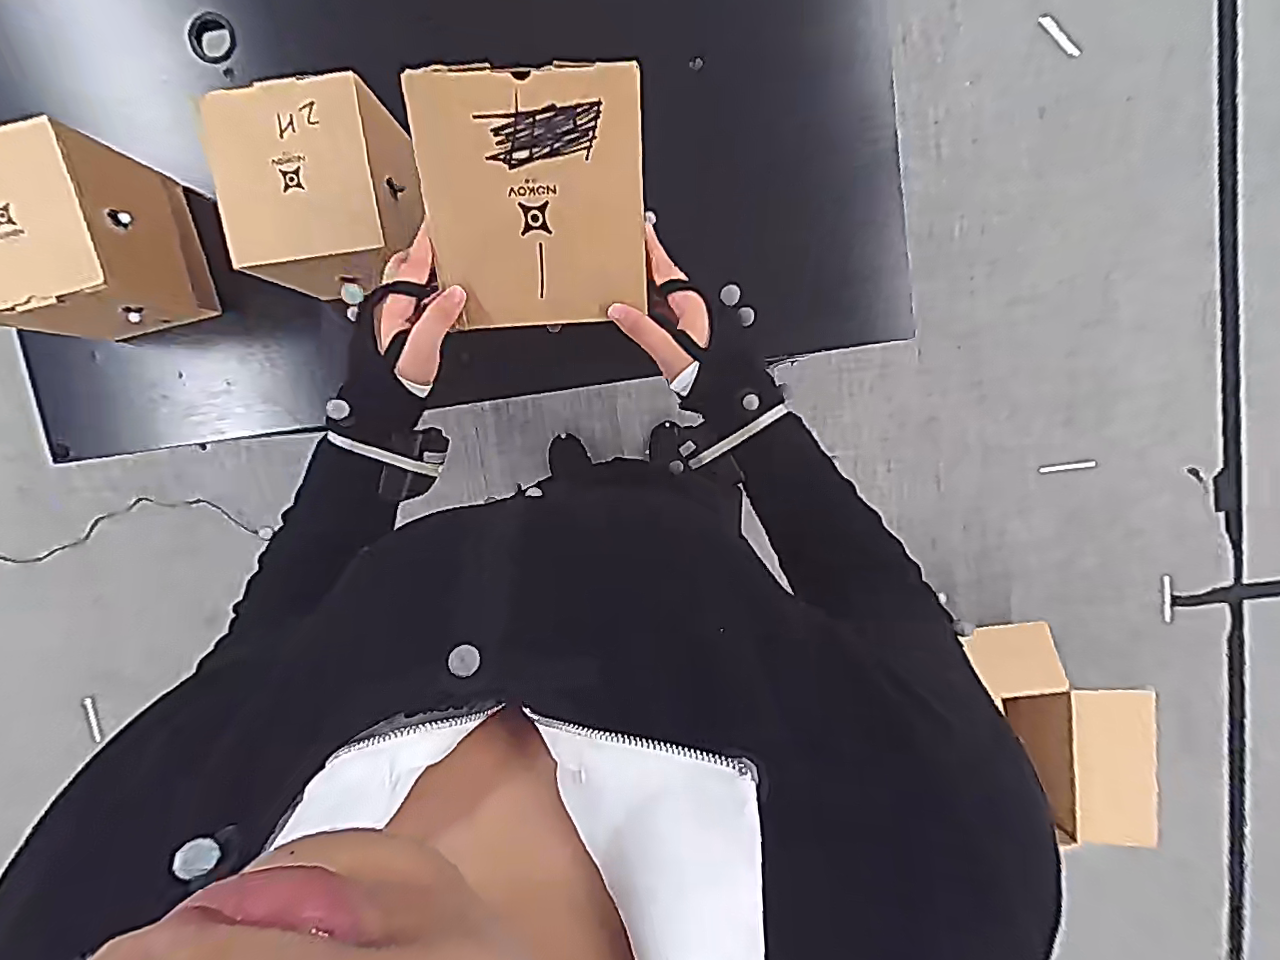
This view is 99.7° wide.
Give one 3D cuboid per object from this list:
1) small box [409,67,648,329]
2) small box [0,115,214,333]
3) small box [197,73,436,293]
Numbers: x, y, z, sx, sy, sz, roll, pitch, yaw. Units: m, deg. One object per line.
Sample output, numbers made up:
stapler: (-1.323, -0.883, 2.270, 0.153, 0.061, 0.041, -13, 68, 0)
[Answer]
small box: (-0.084, -0.235, 0.482, 0.168, 0.176, 0.179, -4, 112, -3)
small box: (-0.662, -0.282, 0.642, 0.168, 0.176, 0.179, -13, 96, 0)
small box: (-0.358, -0.327, 0.635, 0.168, 0.176, 0.179, -7, 97, 0)
